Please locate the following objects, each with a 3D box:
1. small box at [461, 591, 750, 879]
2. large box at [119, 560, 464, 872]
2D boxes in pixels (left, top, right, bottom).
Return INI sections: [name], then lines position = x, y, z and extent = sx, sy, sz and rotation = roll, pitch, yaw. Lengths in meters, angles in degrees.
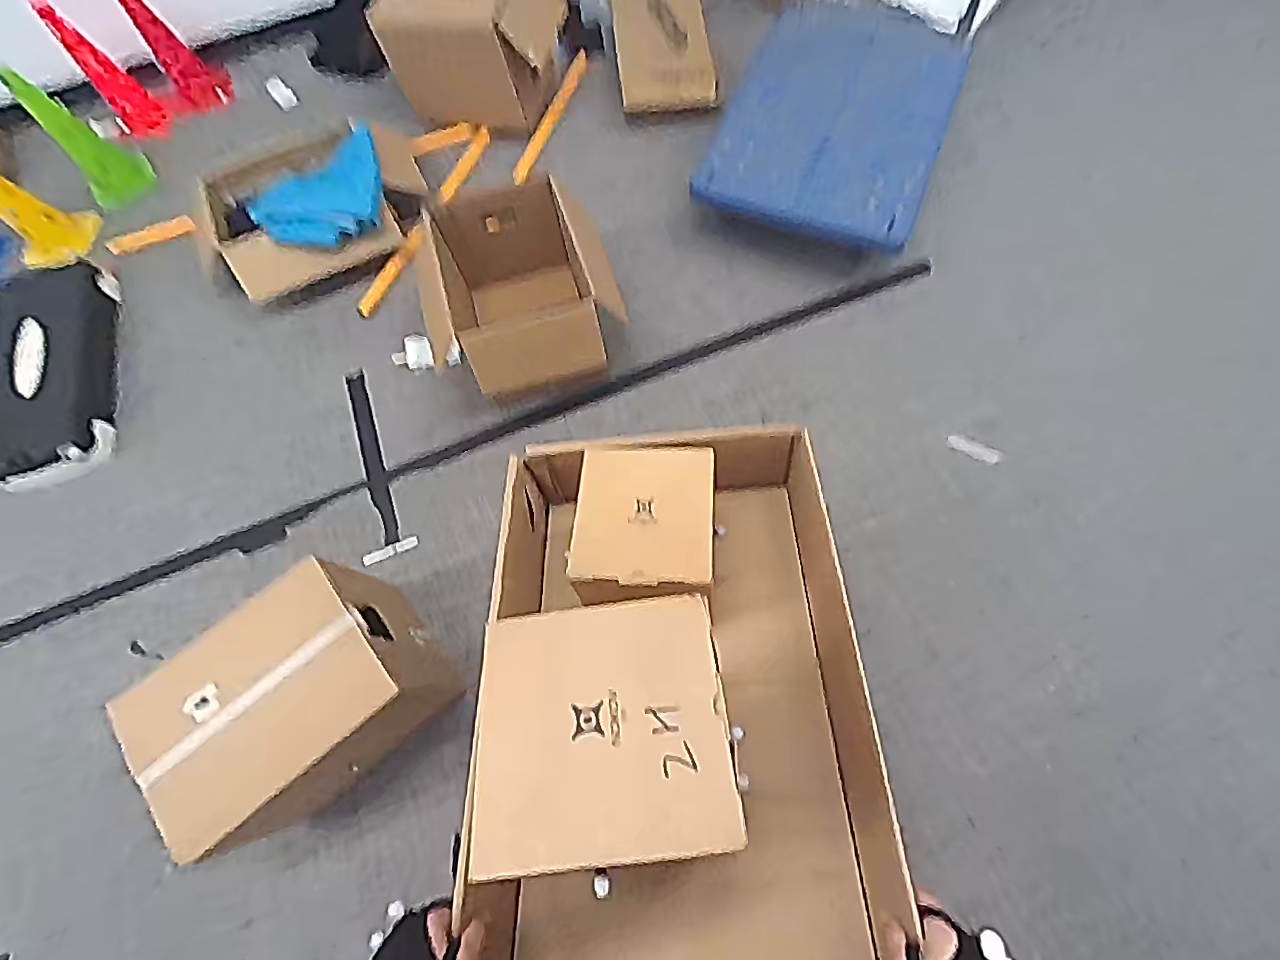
[small box]
position = -0.017, 0.205, 0.424
extent = 0.179, 0.176, 0.168
rotation = -8, 55, 2
[large box]
position = -0.632, 0.424, 1.049
extent = 0.408, 0.320, 0.320
rotation = -40, 71, -11
